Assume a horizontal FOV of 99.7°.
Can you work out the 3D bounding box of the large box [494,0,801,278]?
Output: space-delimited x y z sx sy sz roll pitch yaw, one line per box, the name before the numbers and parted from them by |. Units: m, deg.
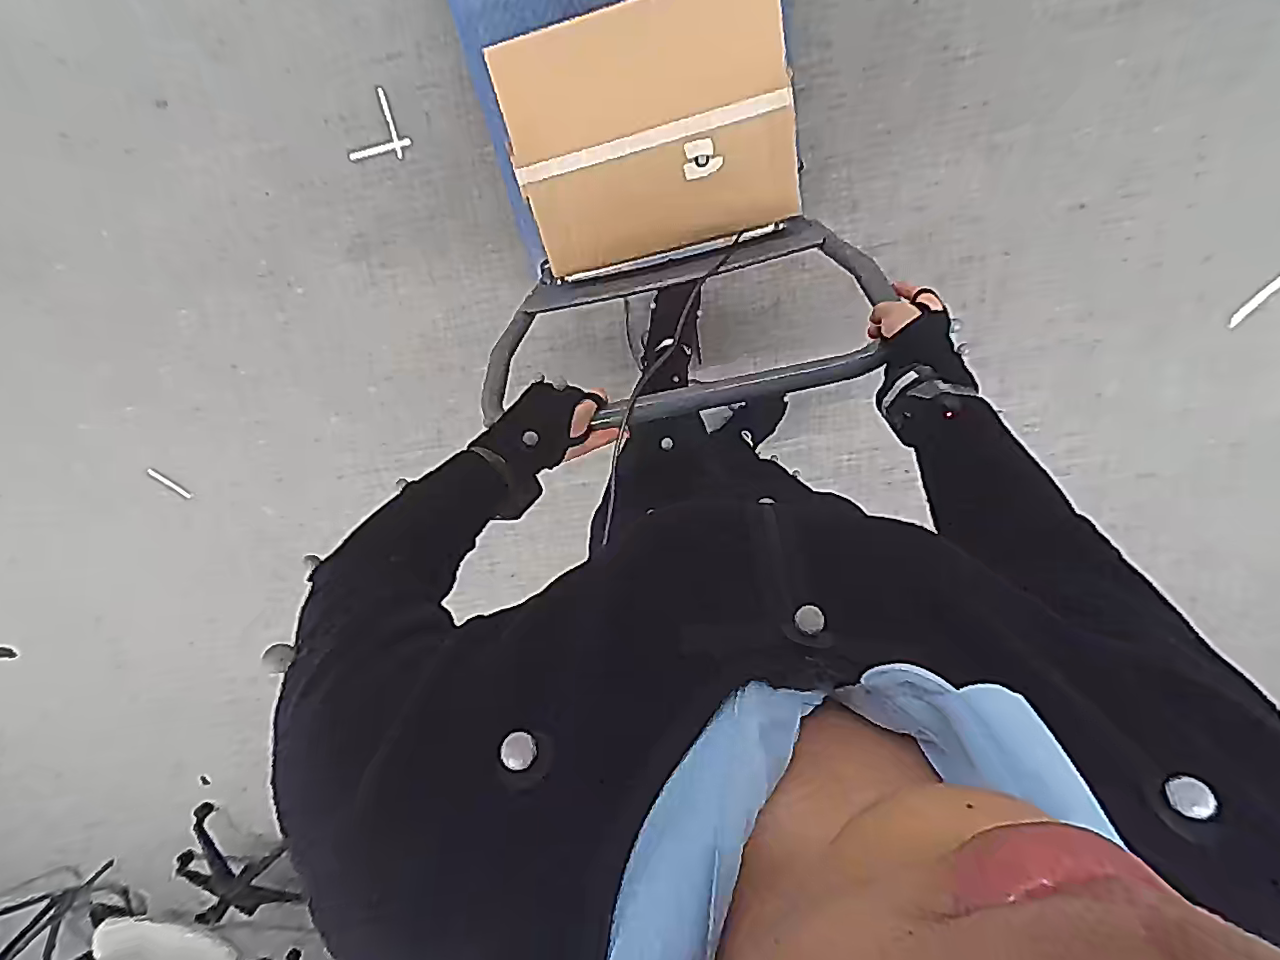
large box | 0.023 -0.579 0.926 0.408 0.320 0.320 -12 121 8
